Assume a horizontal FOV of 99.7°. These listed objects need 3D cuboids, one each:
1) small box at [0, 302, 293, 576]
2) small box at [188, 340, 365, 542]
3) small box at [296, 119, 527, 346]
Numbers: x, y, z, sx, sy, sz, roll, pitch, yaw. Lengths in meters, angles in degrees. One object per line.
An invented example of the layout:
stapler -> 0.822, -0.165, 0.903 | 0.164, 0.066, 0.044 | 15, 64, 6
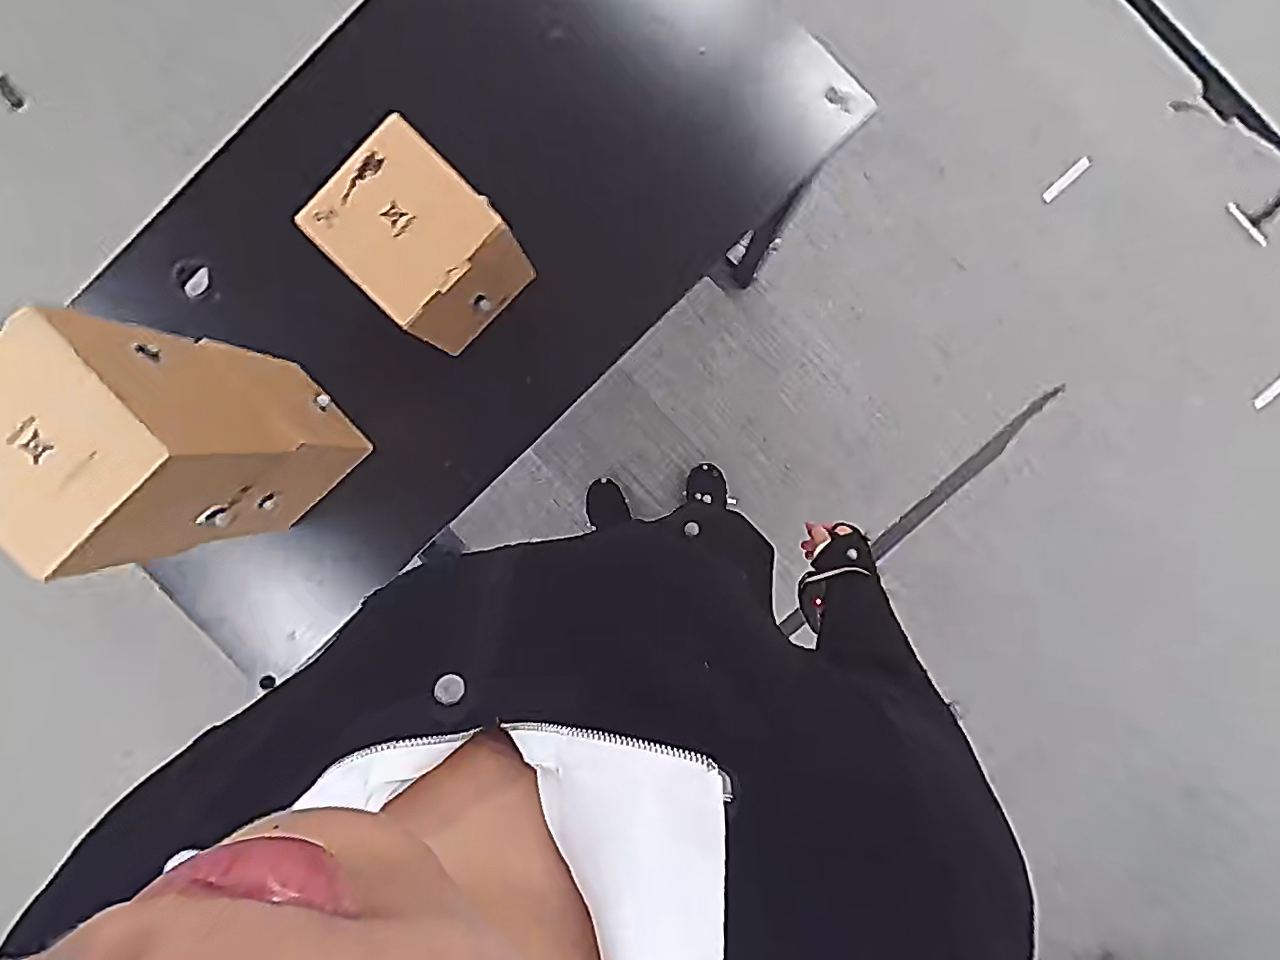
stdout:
small box -> -0.504, -0.036, 0.532 | 0.168, 0.176, 0.179 | -44, 92, 3
small box -> -0.501, -0.044, 0.695 | 0.179, 0.176, 0.168 | -43, 91, 1
small box -> -0.270, -0.290, 0.685 | 0.179, 0.176, 0.168 | 45, 92, -1
